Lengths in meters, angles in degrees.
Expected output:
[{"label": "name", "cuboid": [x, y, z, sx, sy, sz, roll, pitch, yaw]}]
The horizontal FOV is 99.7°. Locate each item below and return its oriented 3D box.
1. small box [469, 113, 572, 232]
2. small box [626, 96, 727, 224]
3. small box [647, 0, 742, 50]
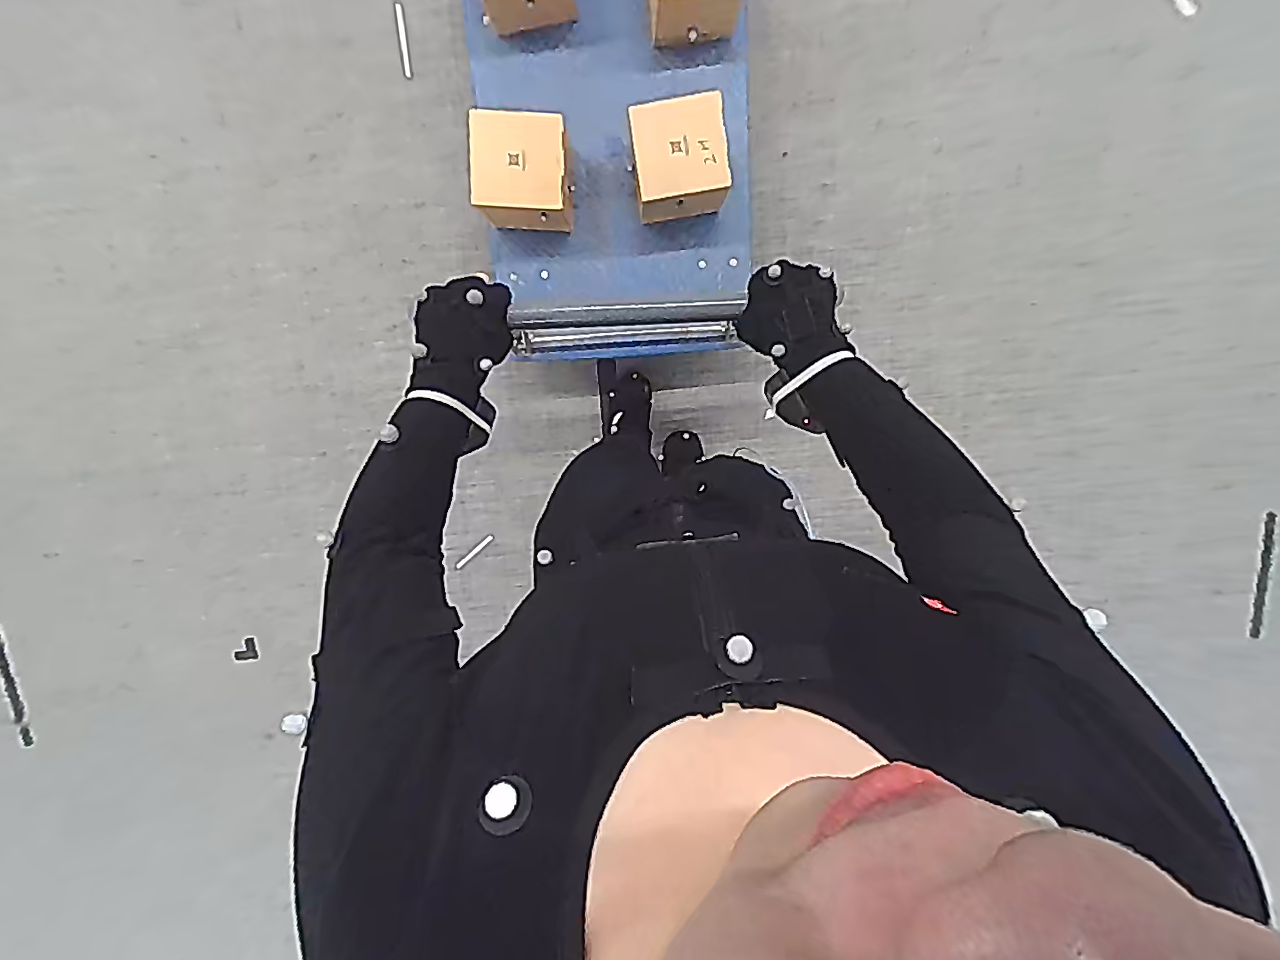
[{"label": "small box", "cuboid": [-0.235, -0.611, 1.094, 0.179, 0.176, 0.168, 2, 102, -2]}, {"label": "small box", "cuboid": [0.071, -0.633, 1.091, 0.179, 0.176, 0.168, -9, 102, 2]}, {"label": "small box", "cuboid": [0.096, -0.963, 1.021, 0.168, 0.176, 0.179, -6, 103, 1]}]
